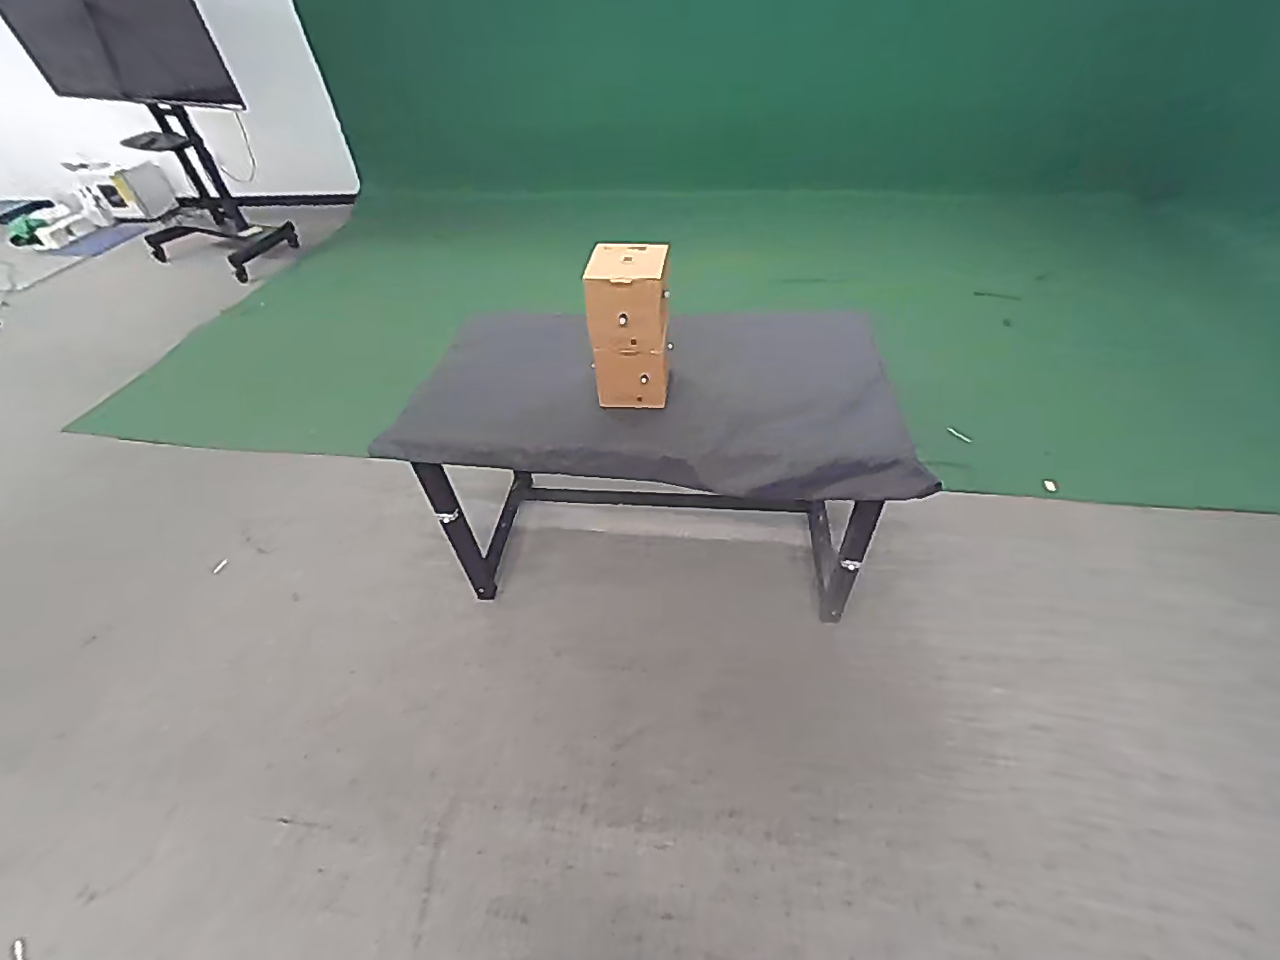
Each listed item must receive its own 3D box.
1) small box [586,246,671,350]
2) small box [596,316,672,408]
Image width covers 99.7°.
[{"bbox_3d":[-0.018,-0.411,1.231,0.168,0.176,0.179,4,47,7],"label":"small box"},{"bbox_3d":[-0.008,-0.293,1.344,0.168,0.176,0.179,3,45,6],"label":"small box"}]
